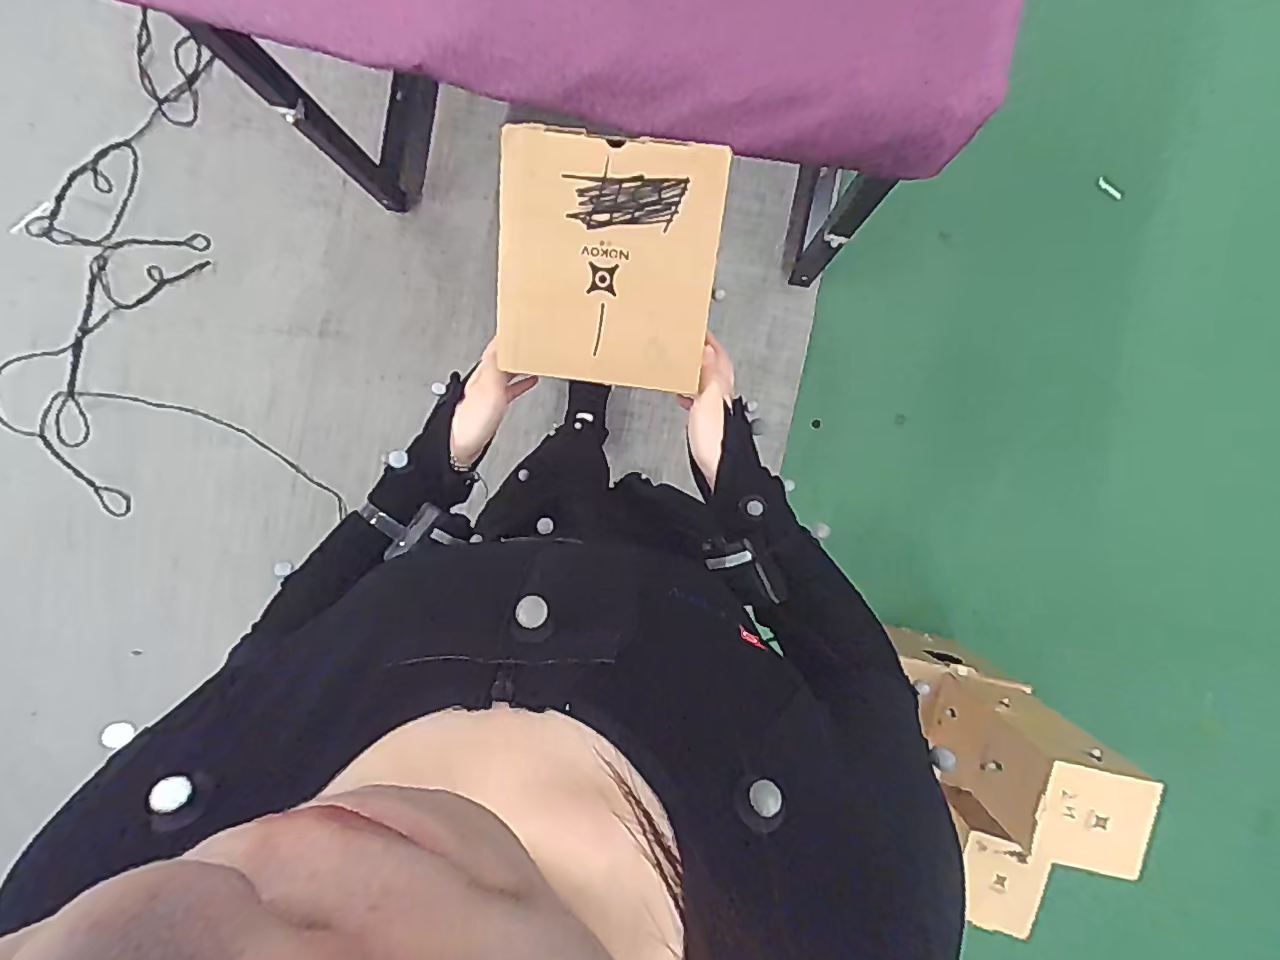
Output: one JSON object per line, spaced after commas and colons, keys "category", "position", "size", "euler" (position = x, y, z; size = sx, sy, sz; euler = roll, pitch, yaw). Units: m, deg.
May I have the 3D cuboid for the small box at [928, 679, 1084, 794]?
{"category": "small box", "position": [0.723, 0.525, 1.086], "size": [0.179, 0.176, 0.168], "euler": [13, 94, 2]}

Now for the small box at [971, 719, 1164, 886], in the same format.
{"category": "small box", "position": [0.713, 0.535, 0.922], "size": [0.179, 0.176, 0.168], "euler": [12, 93, 2]}

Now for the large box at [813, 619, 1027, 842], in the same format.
{"category": "large box", "position": [0.659, 0.605, 1.335], "size": [0.320, 0.320, 0.408], "euler": [13, 94, 2]}

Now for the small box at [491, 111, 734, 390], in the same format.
{"category": "small box", "position": [-0.020, -0.187, 0.473], "size": [0.168, 0.176, 0.179], "euler": [8, 108, 3]}

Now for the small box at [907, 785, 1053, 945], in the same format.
{"category": "small box", "position": [0.673, 0.768, 1.095], "size": [0.168, 0.176, 0.179], "euler": [18, 93, 1]}
